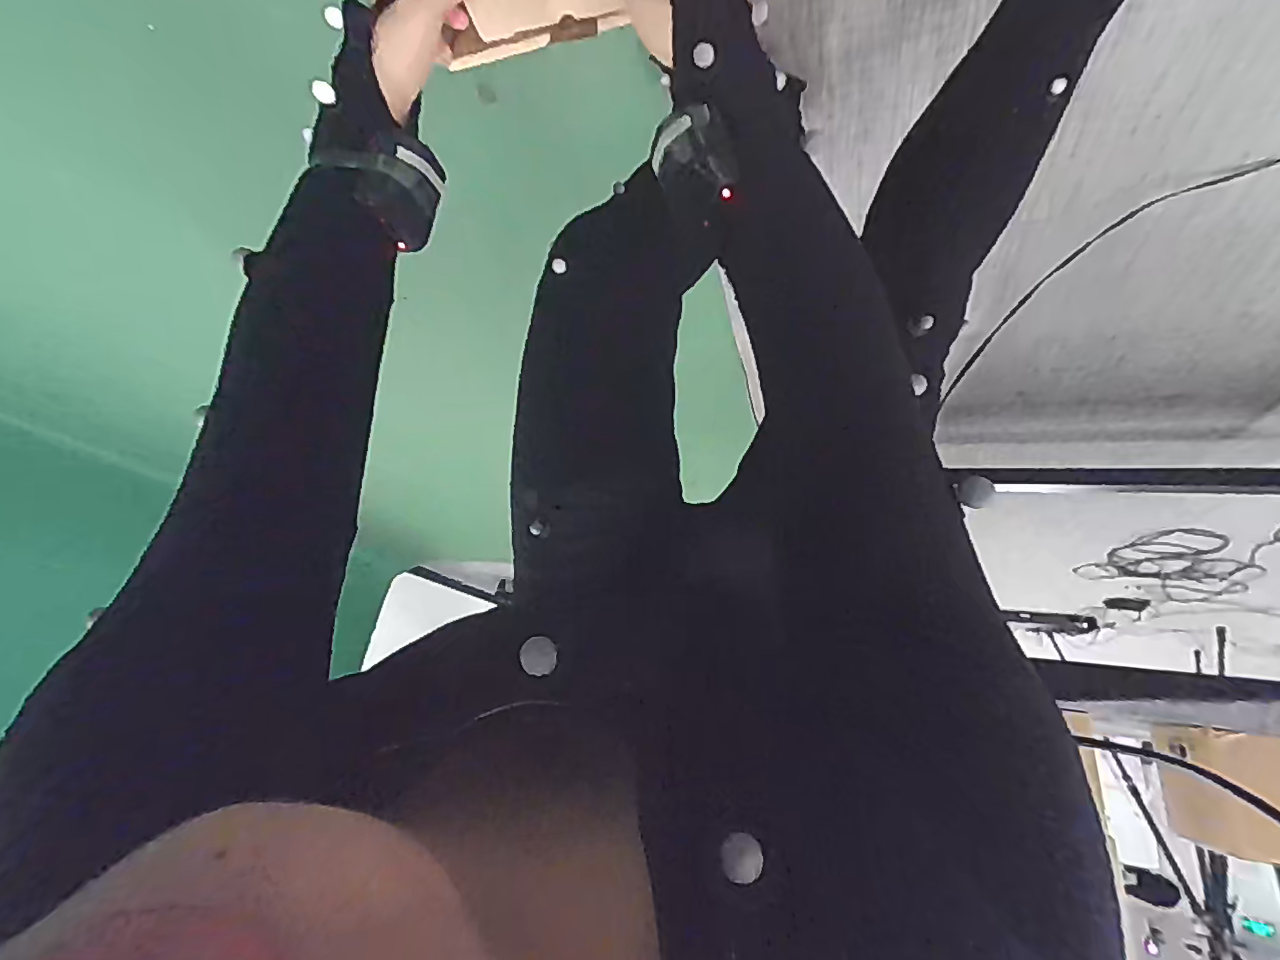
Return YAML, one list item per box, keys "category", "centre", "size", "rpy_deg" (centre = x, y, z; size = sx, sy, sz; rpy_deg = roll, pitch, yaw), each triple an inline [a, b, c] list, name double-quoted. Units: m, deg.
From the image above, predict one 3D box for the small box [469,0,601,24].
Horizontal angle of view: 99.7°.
- category: "small box"
  centre: [-0.073, -0.503, 0.404]
  size: [0.168, 0.176, 0.179]
  rpy_deg: [-1, 159, 12]

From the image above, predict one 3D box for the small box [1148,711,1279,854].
- category: "small box"
  centre: [0.919, 0.448, 0.806]
  size: [0.179, 0.176, 0.168]
  rpy_deg: [0, 157, 20]
